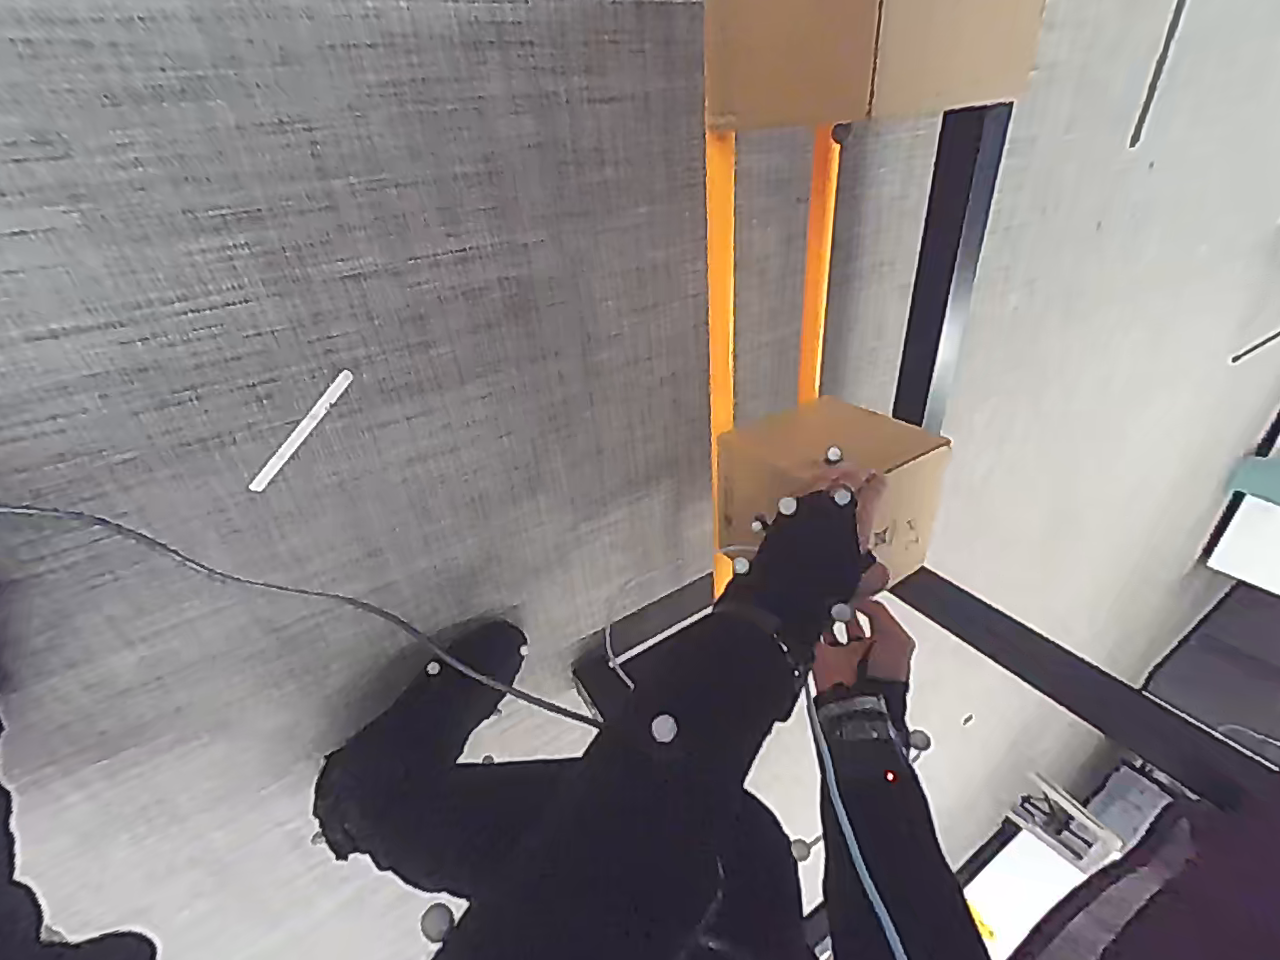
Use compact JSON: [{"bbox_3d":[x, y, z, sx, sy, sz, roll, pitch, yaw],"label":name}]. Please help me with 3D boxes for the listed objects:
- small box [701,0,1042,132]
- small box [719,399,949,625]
[{"bbox_3d":[0.155,-0.354,0.378,0.168,0.176,0.179,-23,125,-23],"label":"small box"},{"bbox_3d":[0.204,0.024,0.613,0.179,0.176,0.168,-21,124,-25],"label":"small box"}]
